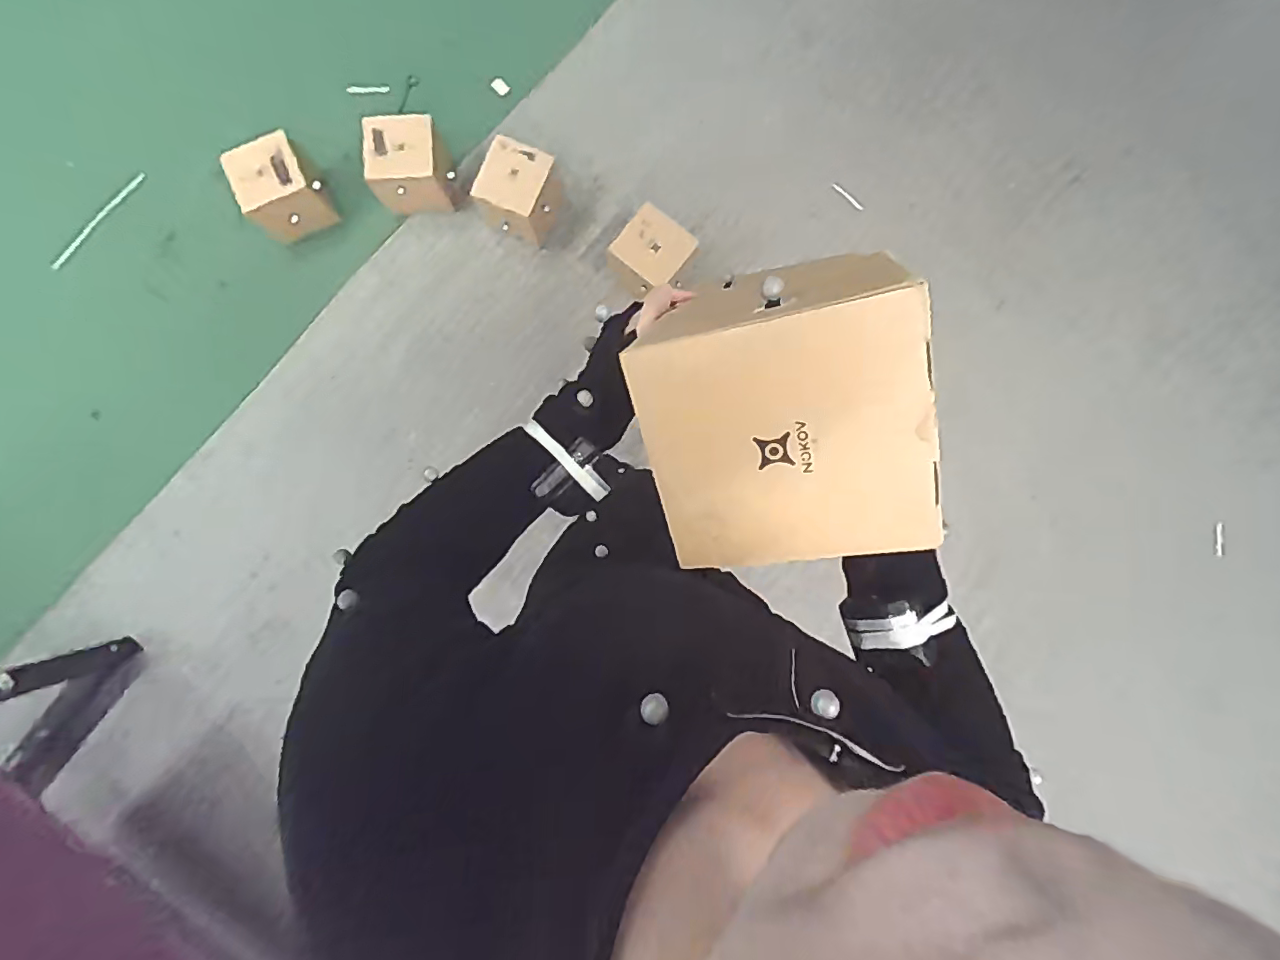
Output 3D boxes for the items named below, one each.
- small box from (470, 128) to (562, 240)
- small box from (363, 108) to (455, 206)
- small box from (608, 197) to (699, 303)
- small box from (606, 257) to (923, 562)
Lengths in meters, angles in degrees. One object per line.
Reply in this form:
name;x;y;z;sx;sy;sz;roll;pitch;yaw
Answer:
small box;-0.321;-0.779;1.442;0.168;0.176;0.179;24;88;1
small box;-0.611;-0.854;1.443;0.179;0.176;0.168;-3;88;-1
small box;0.034;-0.597;1.436;0.179;0.176;0.168;40;88;1
small box;0.098;-0.058;0.409;0.179;0.176;0.168;-9;114;19
